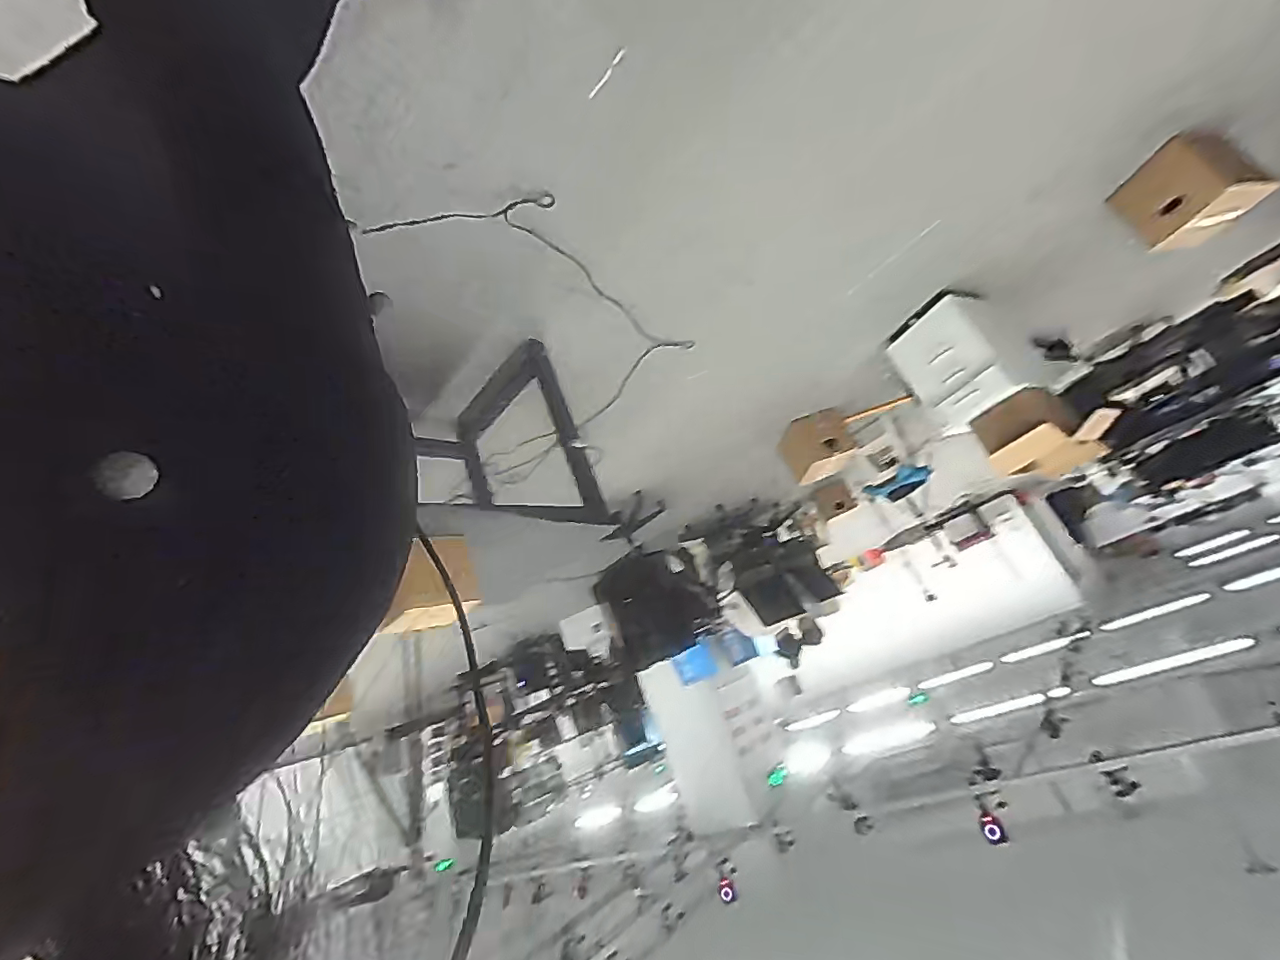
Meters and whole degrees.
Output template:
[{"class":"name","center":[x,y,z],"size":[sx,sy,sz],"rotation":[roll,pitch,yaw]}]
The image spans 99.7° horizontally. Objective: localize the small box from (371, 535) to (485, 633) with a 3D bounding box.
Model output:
[{"class":"small box","center":[-0.493,0.233,1.249],"size":[0.168,0.176,0.179],"rotation":[-37,154,33]}]
